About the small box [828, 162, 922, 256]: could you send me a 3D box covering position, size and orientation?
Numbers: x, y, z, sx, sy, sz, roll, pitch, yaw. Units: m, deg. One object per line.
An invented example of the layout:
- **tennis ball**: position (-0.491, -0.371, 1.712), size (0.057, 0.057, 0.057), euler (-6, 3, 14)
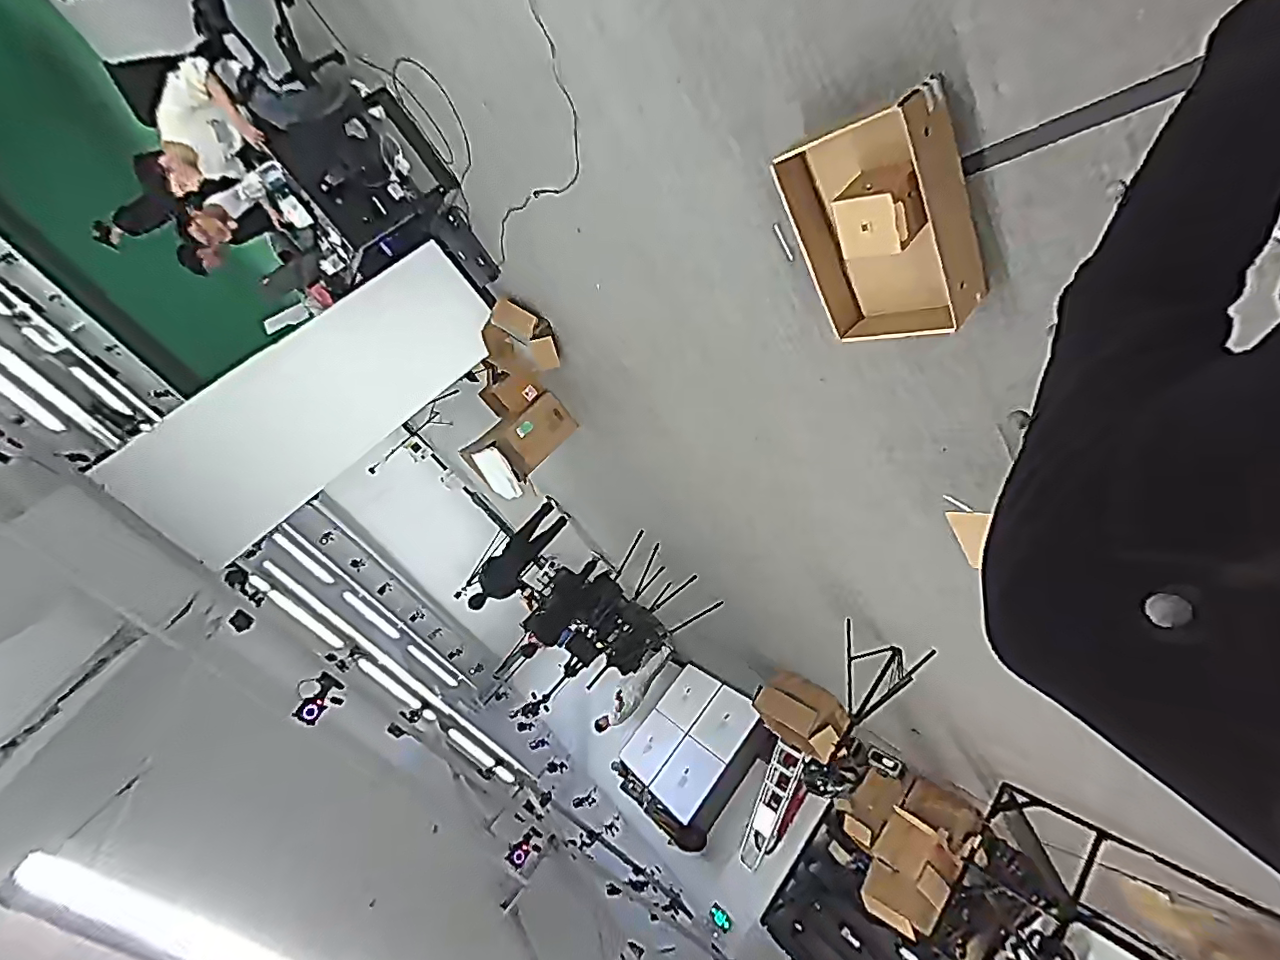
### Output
- **small box**: position (0.651, -0.739, 1.482), size (0.179, 0.176, 0.168), euler (20, 150, 47)
